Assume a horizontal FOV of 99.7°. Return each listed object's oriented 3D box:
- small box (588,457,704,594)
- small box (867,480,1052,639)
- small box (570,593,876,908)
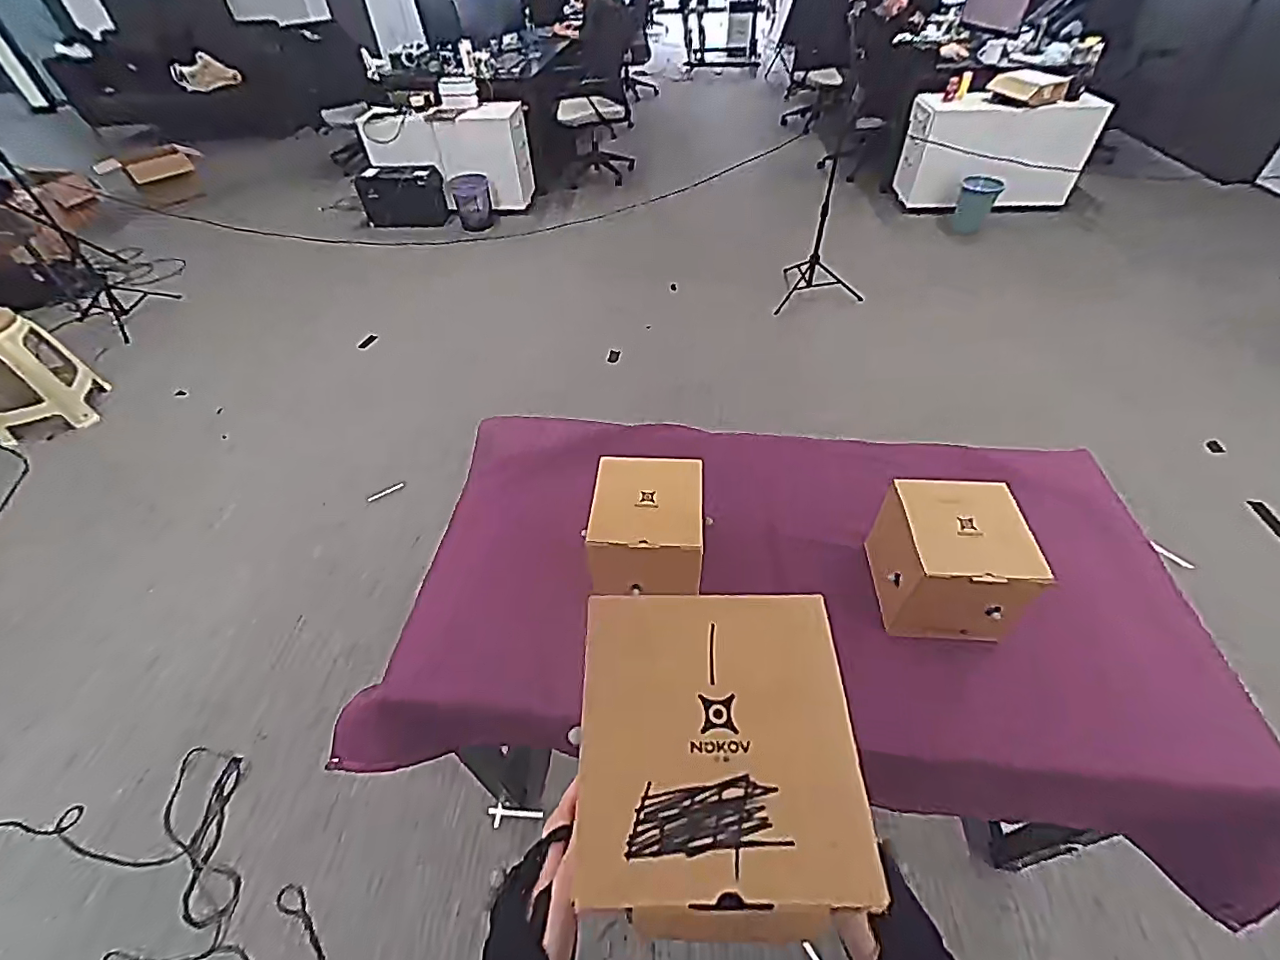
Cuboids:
[{"bbox_3d":[0.015,0.085,0.868,0.168,0.176,0.179,2,48,4],"label":"small box"},{"bbox_3d":[0.459,0.121,0.812,0.168,0.176,0.179,3,47,5],"label":"small box"},{"bbox_3d":[0.045,0.197,0.397,0.168,0.176,0.179,0,54,0],"label":"small box"}]
